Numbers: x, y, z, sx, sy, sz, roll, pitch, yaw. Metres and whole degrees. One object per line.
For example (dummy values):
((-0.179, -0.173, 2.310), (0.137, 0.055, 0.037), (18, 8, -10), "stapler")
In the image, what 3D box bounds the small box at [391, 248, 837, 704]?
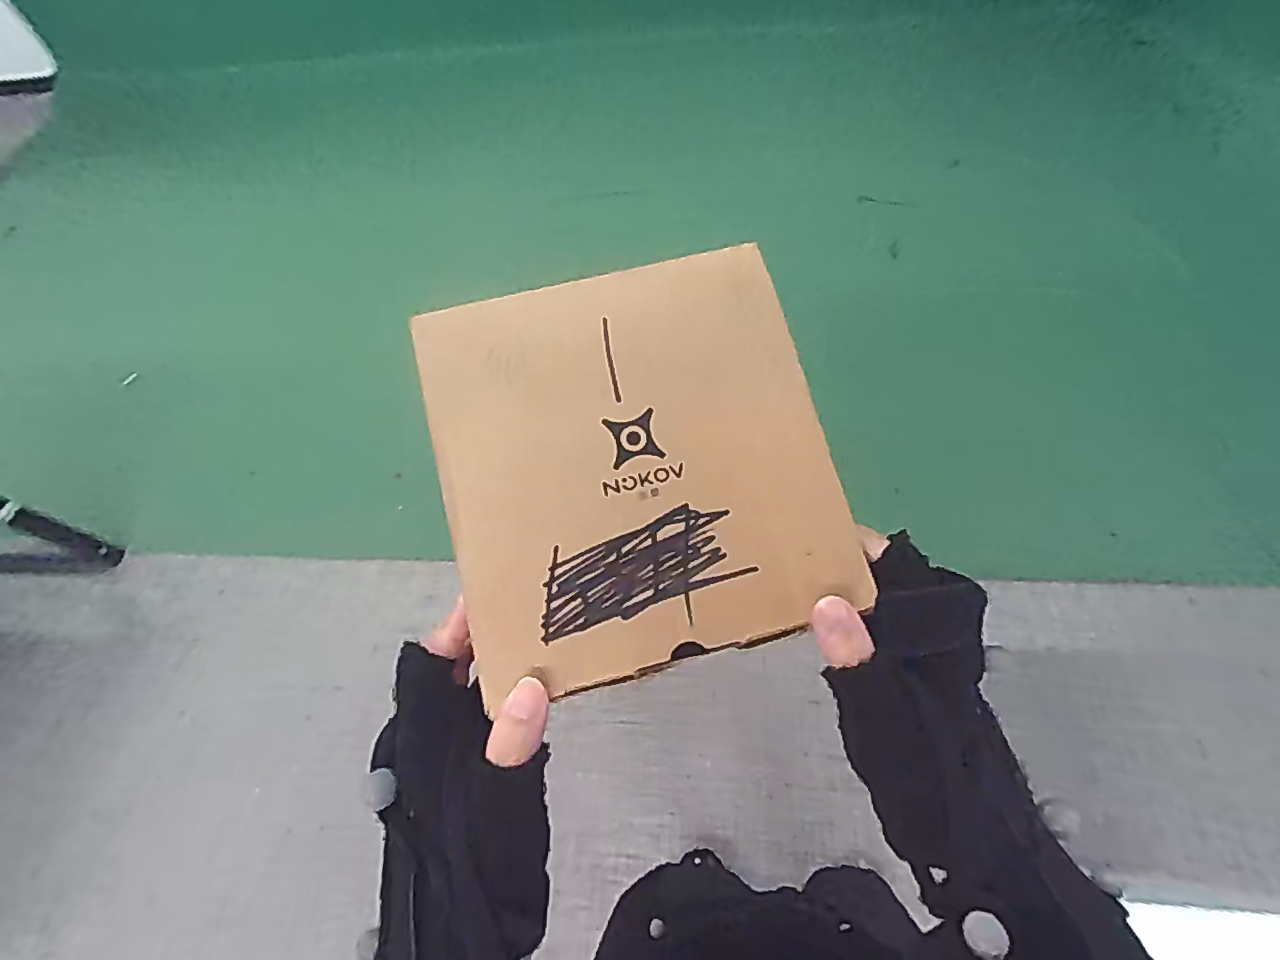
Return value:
((-0.017, 0.005, 0.316), (0.168, 0.176, 0.179), (-15, 79, -5), "small box")
